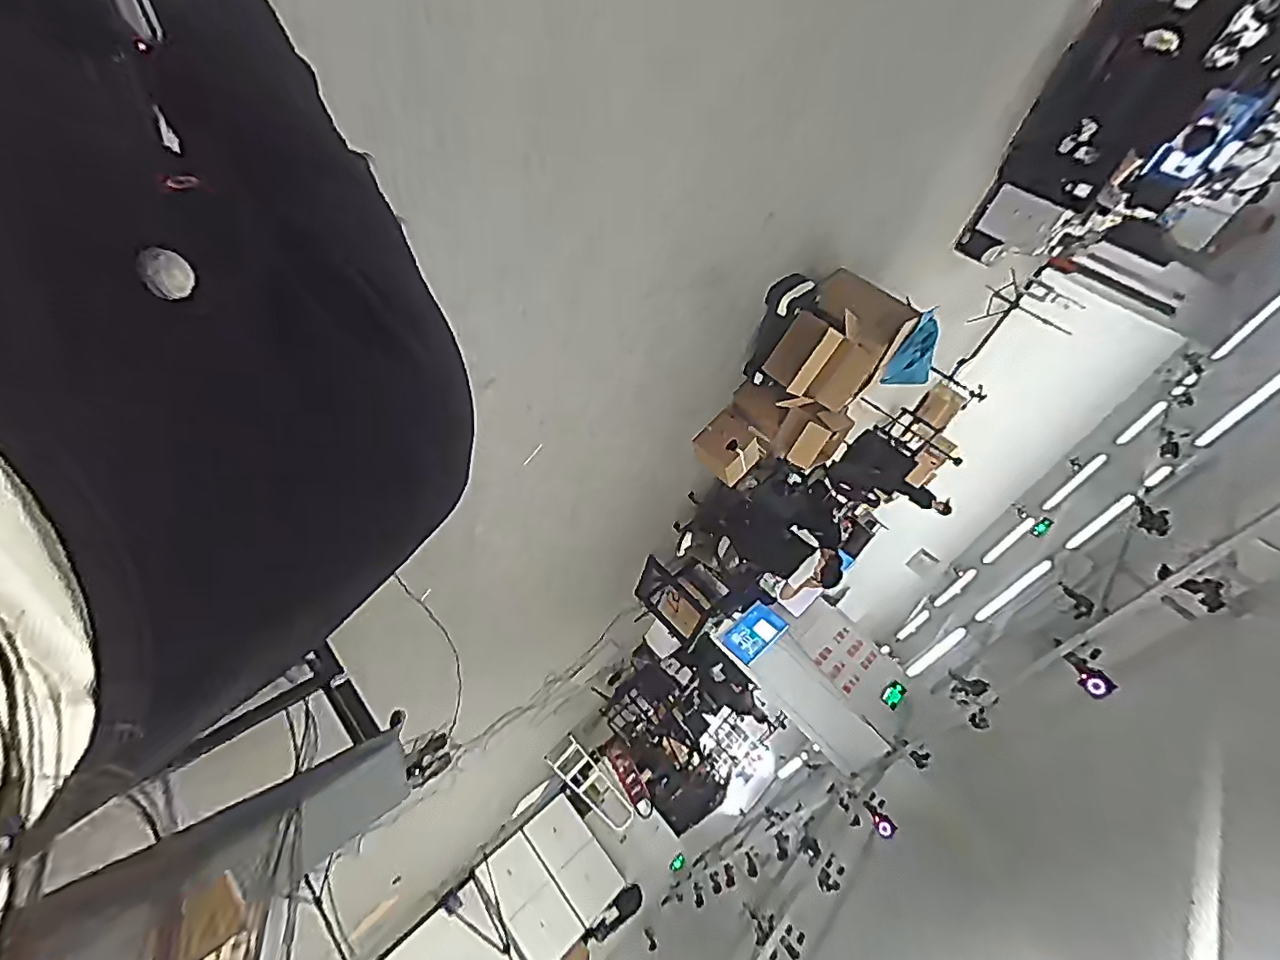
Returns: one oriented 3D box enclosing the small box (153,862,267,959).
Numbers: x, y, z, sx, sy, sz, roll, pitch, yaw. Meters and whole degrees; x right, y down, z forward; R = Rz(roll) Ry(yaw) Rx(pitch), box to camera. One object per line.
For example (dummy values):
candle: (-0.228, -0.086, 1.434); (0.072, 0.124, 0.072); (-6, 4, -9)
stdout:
small box: (-1.132, 1.162, 1.429); (0.179, 0.176, 0.168); (-27, 149, -38)
